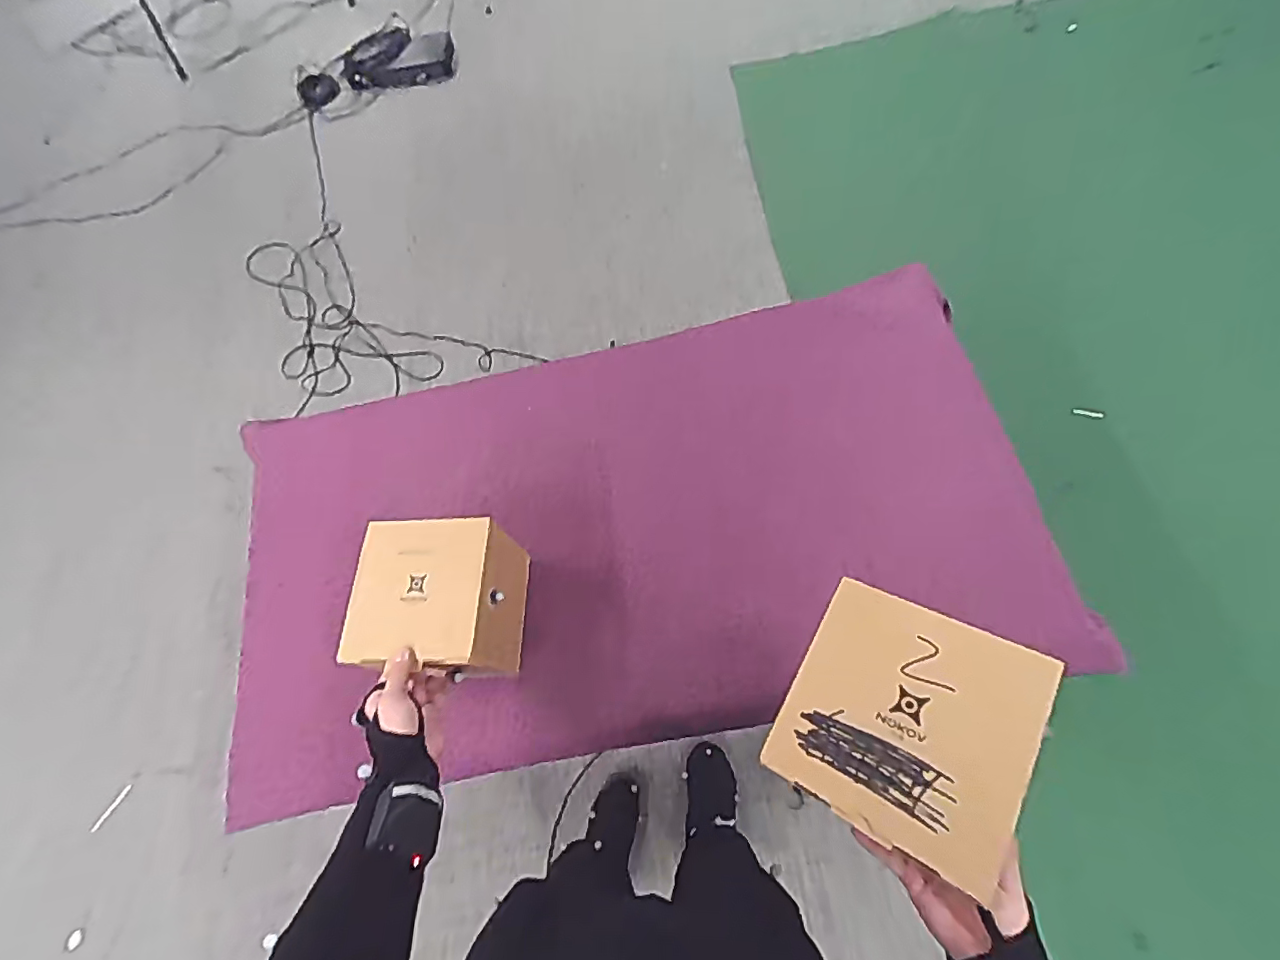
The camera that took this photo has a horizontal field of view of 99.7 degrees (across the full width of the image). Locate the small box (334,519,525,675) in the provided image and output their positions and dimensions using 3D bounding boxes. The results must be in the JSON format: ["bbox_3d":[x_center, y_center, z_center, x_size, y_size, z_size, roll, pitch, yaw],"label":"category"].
[{"bbox_3d":[-0.263,0.162,0.723,0.168,0.176,0.179,-1,64,7],"label":"small box"}]
